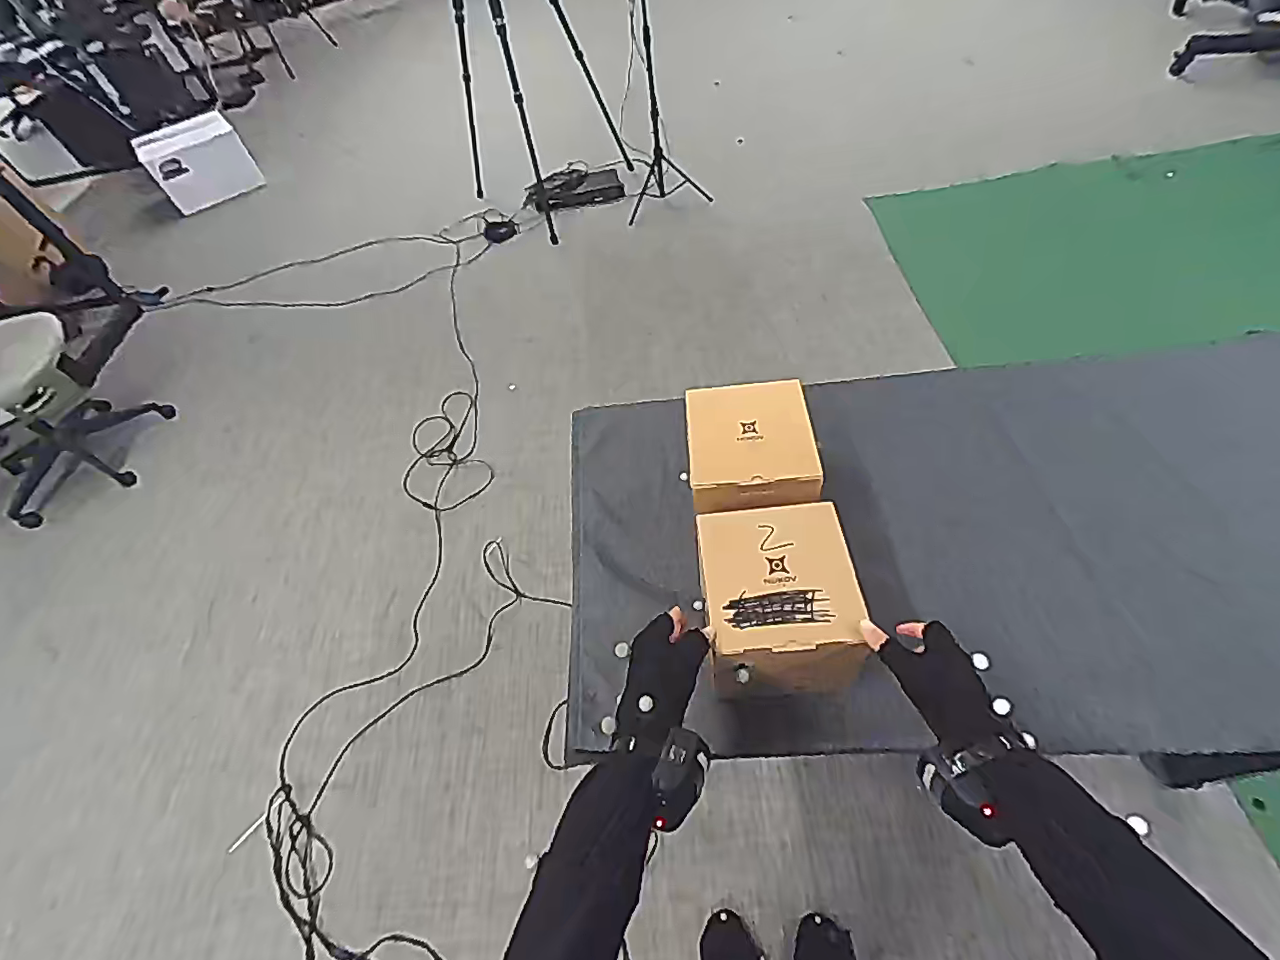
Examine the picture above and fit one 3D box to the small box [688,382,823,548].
[{"bbox_3d":[0.157,-0.019,0.795,0.168,0.176,0.179,-5,54,6],"label":"small box"}]
